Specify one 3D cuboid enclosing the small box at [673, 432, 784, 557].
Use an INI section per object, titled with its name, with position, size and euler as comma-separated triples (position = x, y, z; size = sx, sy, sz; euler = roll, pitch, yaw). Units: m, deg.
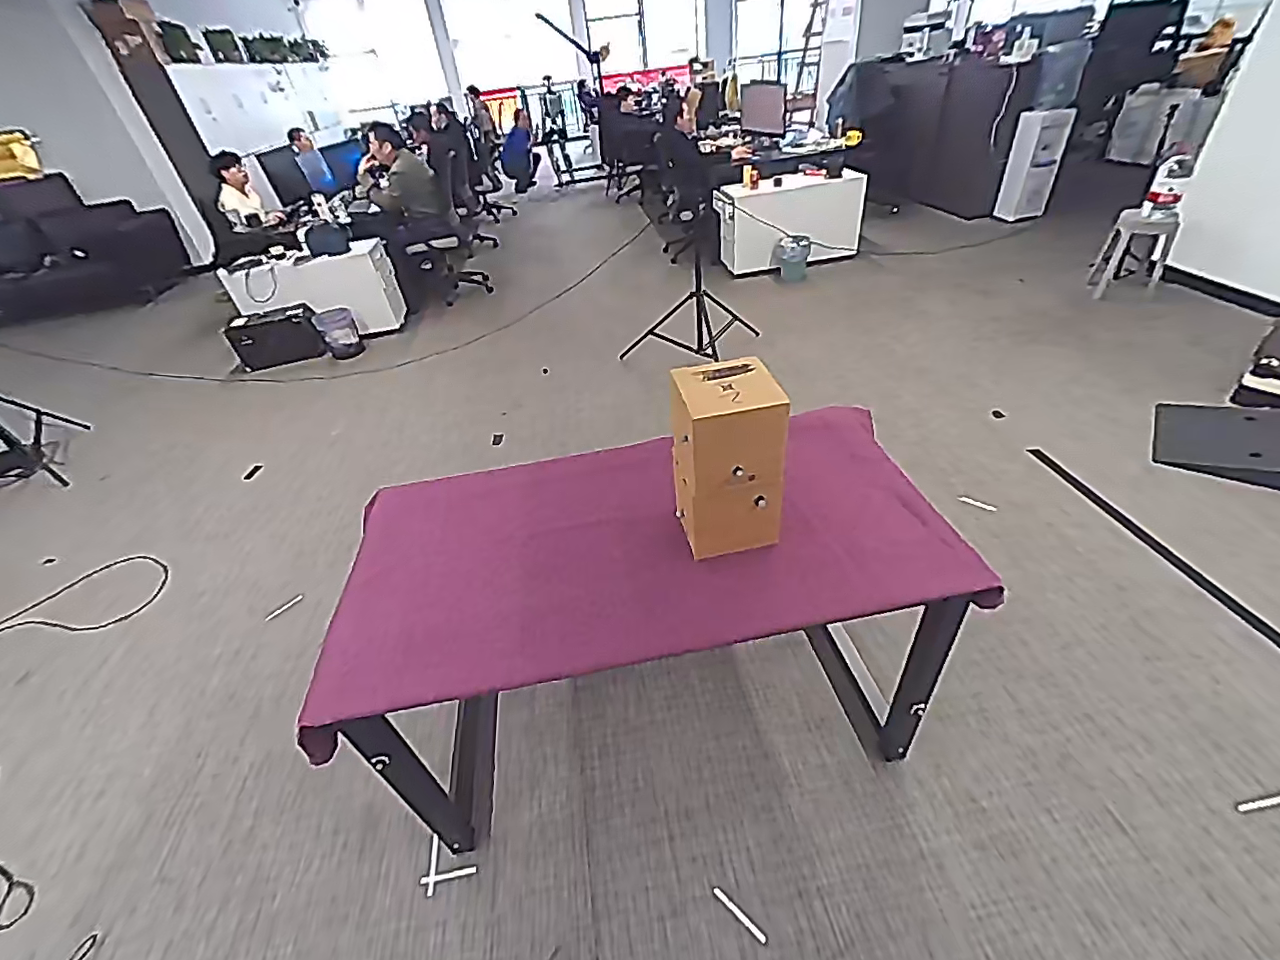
[small box]
position = 0.172, 0.029, 1.083
size = 0.179, 0.176, 0.168
euler = -12, 38, -4
